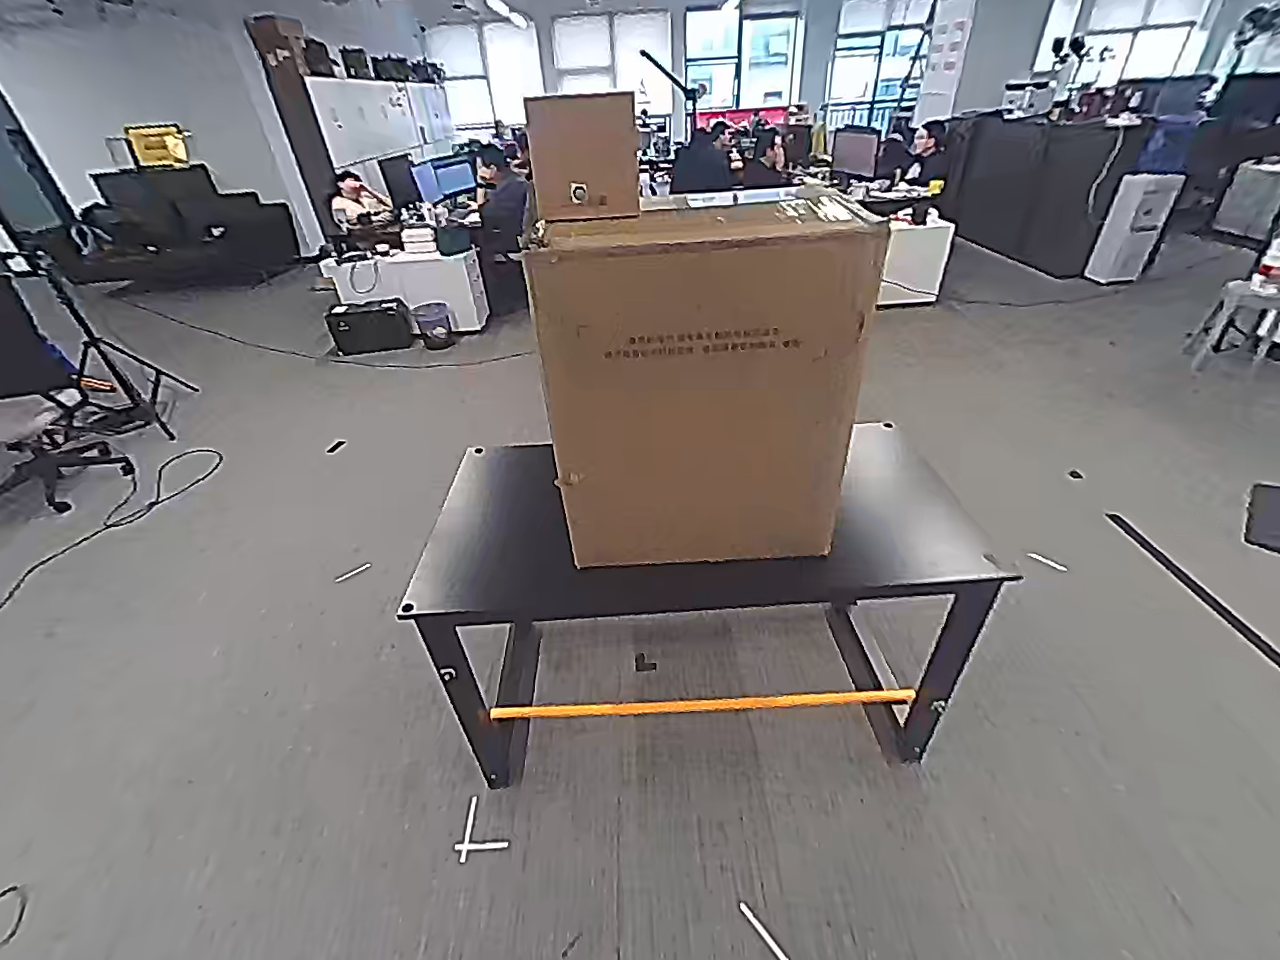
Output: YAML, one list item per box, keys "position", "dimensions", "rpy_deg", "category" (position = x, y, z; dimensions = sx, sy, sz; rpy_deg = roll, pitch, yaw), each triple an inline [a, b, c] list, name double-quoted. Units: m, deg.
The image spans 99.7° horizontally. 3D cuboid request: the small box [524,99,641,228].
- position: [-0.090, -0.523, 0.897]
  dimensions: [0.168, 0.176, 0.179]
  rpy_deg: [-6, 35, -2]
  category: "small box"
